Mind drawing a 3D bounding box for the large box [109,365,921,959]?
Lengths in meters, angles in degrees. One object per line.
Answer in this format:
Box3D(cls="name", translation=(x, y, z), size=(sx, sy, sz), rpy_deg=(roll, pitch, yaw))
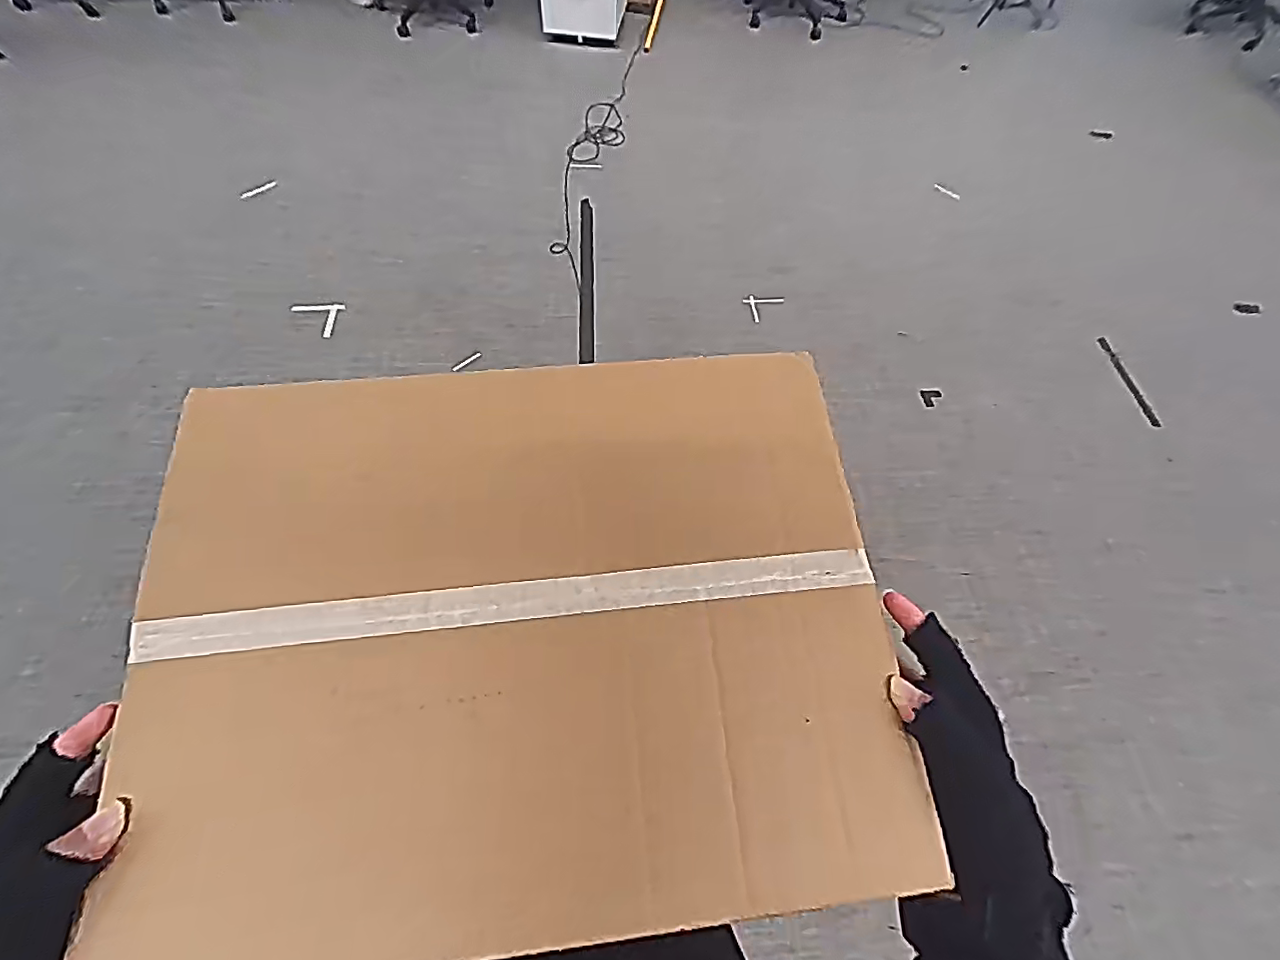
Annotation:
Box3D(cls="large box", translation=(-0.074, 0.133, 0.456), size=(0.408, 0.320, 0.320), rpy_deg=(-5, 68, -5))
